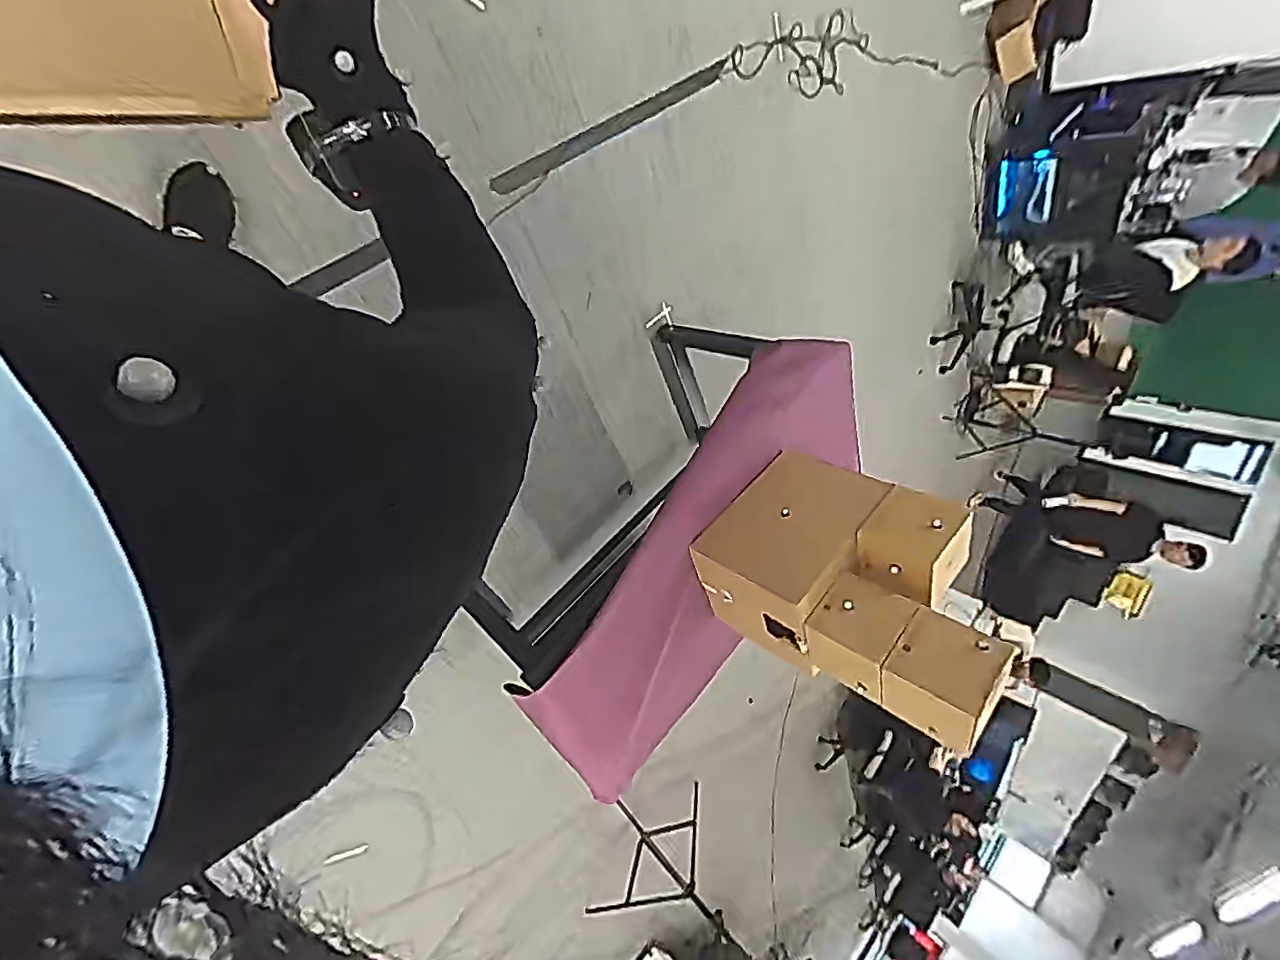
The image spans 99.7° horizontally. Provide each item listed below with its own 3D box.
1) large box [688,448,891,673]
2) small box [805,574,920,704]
[{"bbox_3d":[0.386,0.187,1.369,0.408,0.320,0.320,-43,135,-23],"label":"large box"},{"bbox_3d":[0.474,0.333,1.159,0.168,0.176,0.179,-44,134,-24],"label":"small box"}]
